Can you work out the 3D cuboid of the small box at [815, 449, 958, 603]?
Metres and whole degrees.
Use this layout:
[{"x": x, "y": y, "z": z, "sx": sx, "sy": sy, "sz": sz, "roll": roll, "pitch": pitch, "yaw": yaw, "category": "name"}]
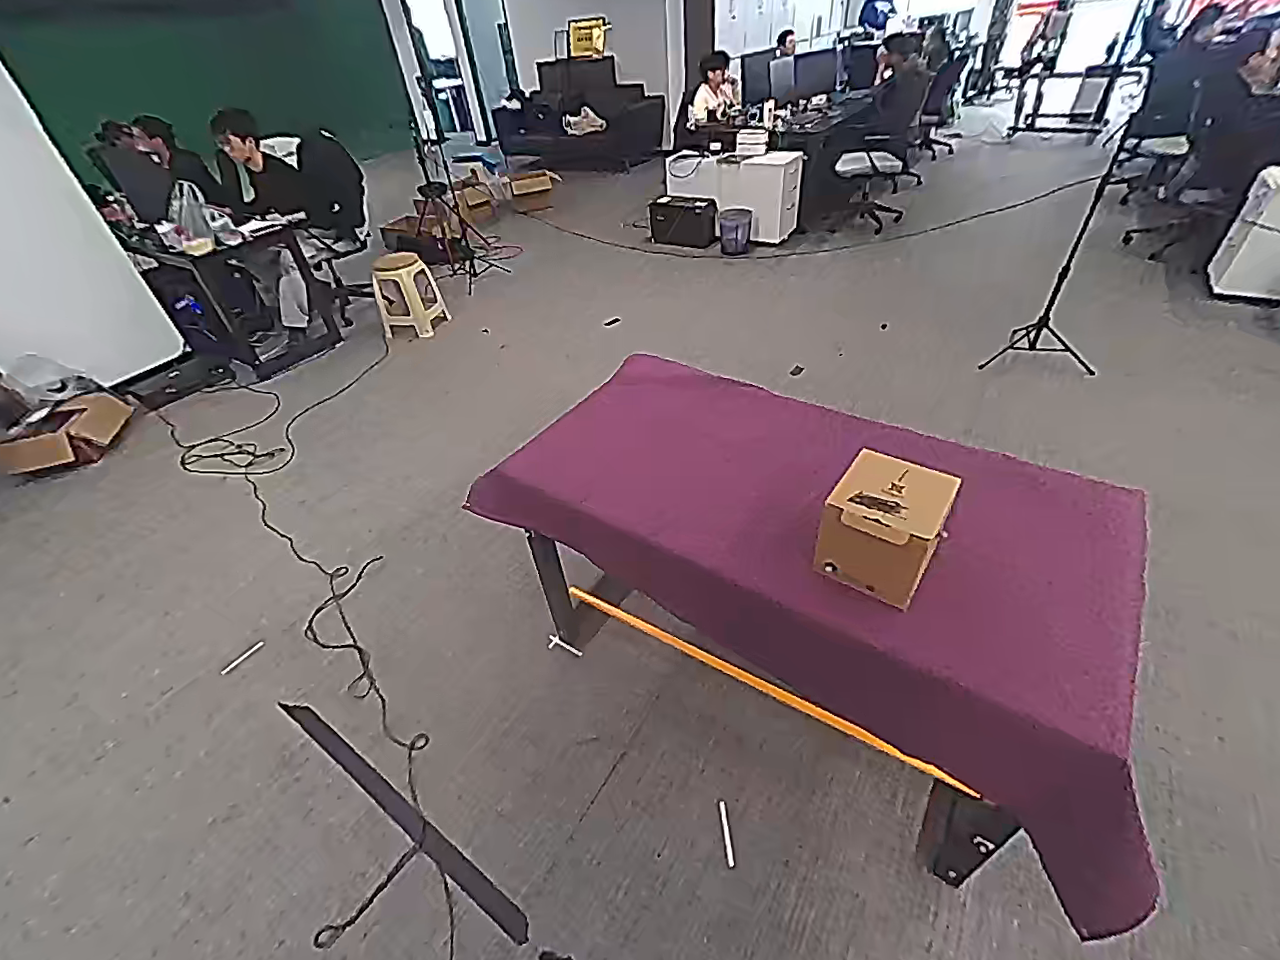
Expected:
[{"x": 0.418, "y": 0.079, "z": 0.936, "sx": 0.168, "sy": 0.176, "sz": 0.179, "roll": 24, "pitch": 48, "yaw": 30, "category": "small box"}]
